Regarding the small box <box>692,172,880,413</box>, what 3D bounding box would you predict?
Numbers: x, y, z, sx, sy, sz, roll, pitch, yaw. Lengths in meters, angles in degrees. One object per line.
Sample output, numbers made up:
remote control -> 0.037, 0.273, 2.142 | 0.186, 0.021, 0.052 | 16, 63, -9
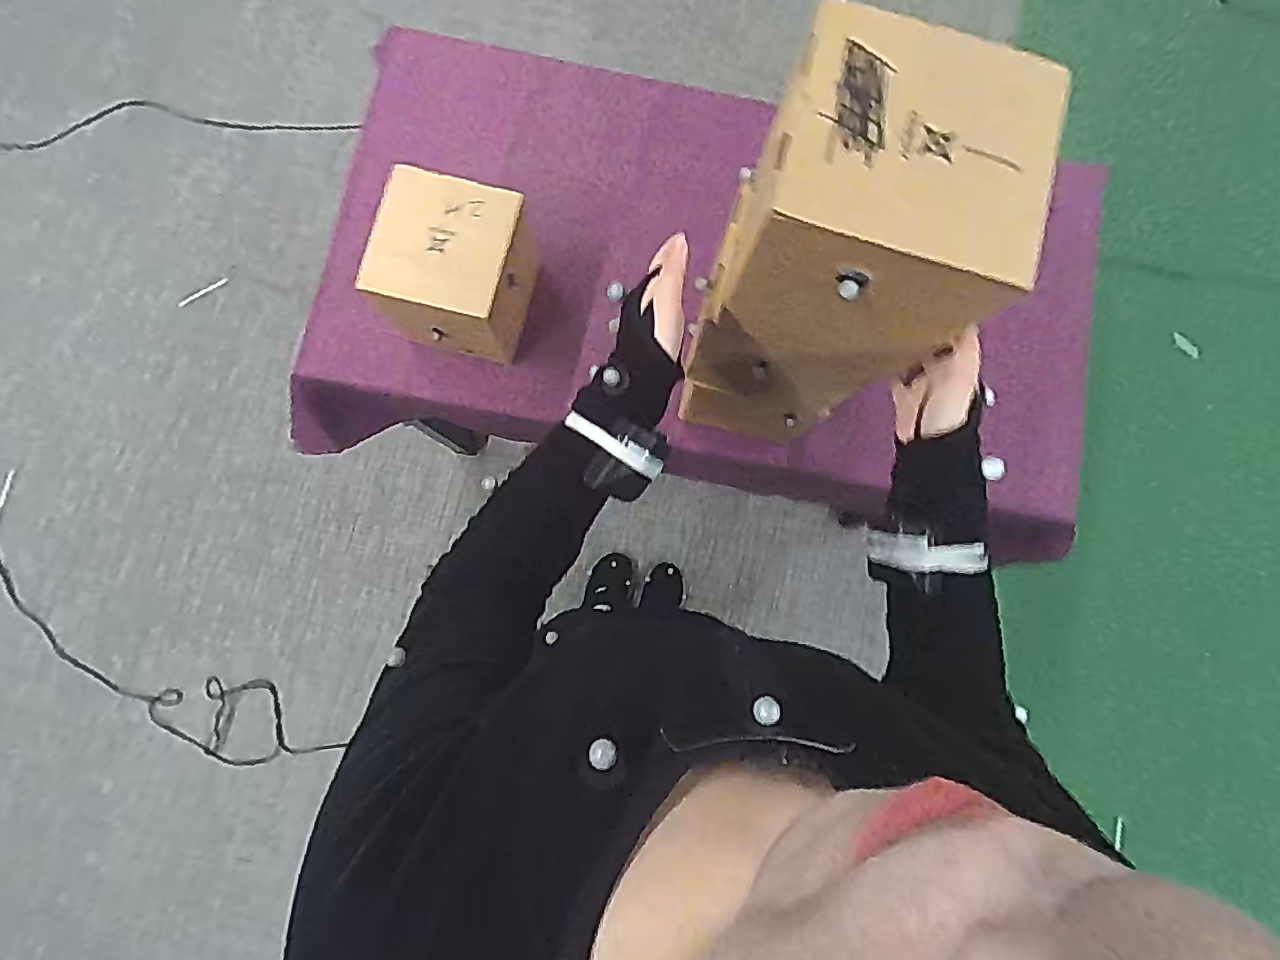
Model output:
small box -> 0.164, -0.187, 0.589 | 0.179, 0.176, 0.168 | 16, 82, 0

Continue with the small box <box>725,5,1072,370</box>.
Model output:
small box -> 0.179, -0.204, 0.426 | 0.179, 0.176, 0.168 | 16, 82, -1

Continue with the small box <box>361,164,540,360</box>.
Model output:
small box -> -0.246, -0.286, 0.749 | 0.168, 0.176, 0.179 | 14, 82, -1

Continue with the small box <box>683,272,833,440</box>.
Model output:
small box -> 0.164, -0.163, 0.752 | 0.179, 0.176, 0.168 | 13, 82, -1
